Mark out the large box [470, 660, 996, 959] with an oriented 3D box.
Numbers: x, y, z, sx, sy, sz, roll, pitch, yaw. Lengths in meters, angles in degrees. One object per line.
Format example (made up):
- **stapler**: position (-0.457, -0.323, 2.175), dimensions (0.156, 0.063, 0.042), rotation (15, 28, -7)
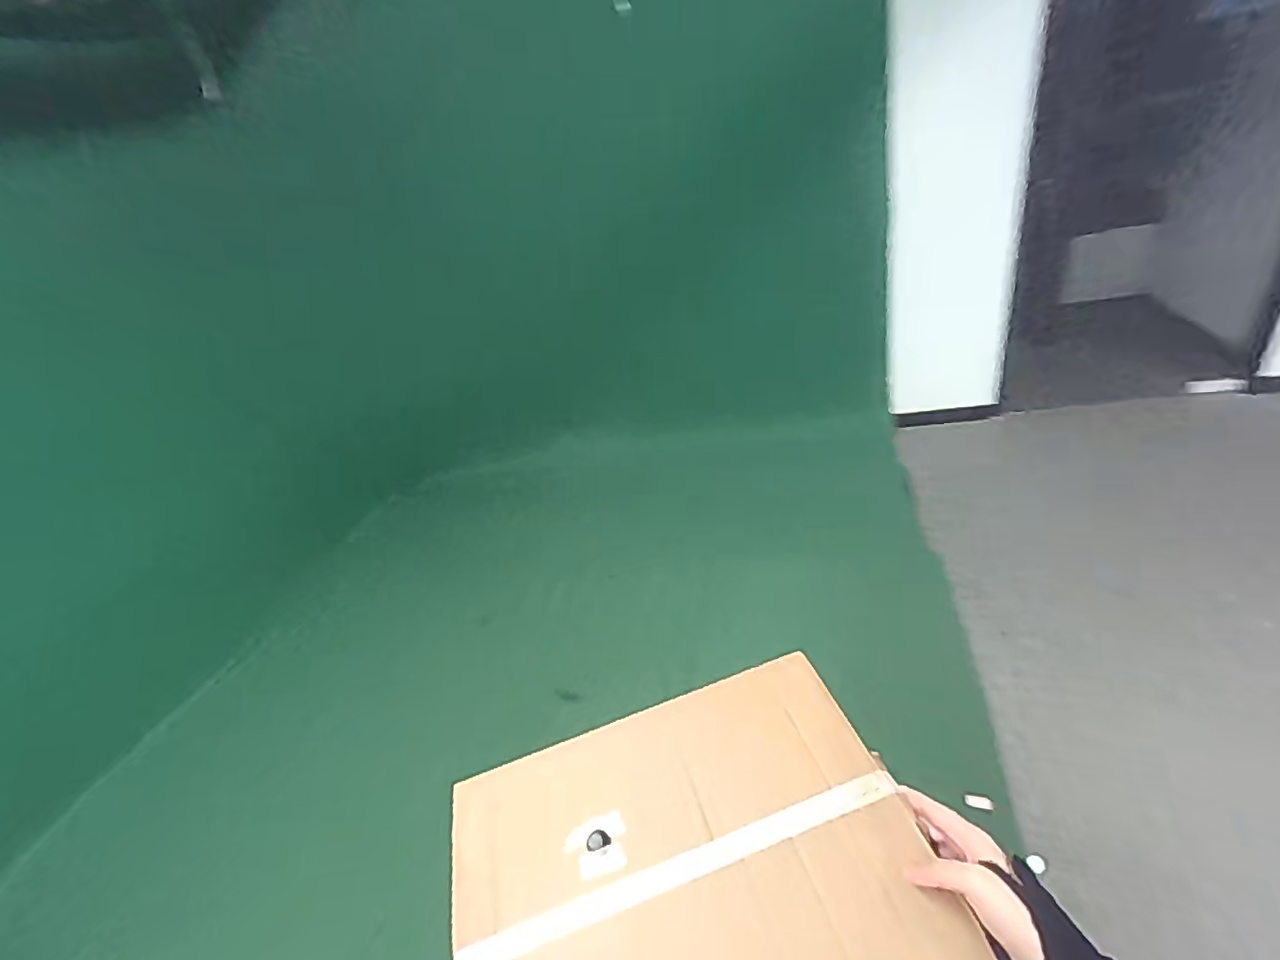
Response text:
- **large box**: position (0.078, 0.466, 0.570), dimensions (0.408, 0.320, 0.320), rotation (-19, 37, -5)
